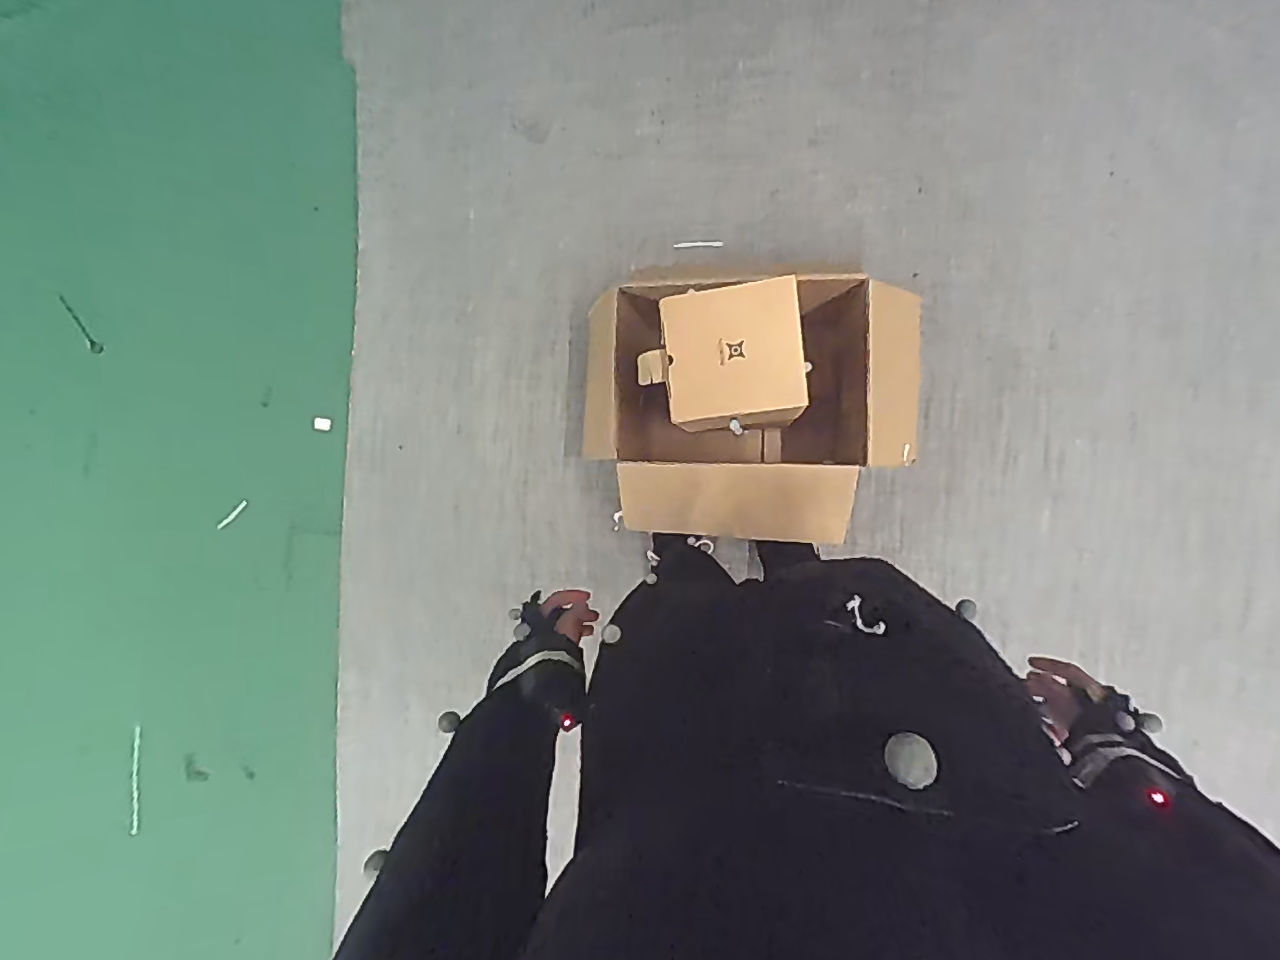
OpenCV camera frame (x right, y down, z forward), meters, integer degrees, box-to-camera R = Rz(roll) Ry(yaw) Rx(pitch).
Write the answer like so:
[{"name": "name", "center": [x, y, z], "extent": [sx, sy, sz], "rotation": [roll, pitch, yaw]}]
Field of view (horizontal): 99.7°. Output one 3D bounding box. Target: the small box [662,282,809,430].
[{"name": "small box", "center": [0.136, -0.164, 0.770], "extent": [0.179, 0.176, 0.168], "rotation": [-6, 90, 13]}]
